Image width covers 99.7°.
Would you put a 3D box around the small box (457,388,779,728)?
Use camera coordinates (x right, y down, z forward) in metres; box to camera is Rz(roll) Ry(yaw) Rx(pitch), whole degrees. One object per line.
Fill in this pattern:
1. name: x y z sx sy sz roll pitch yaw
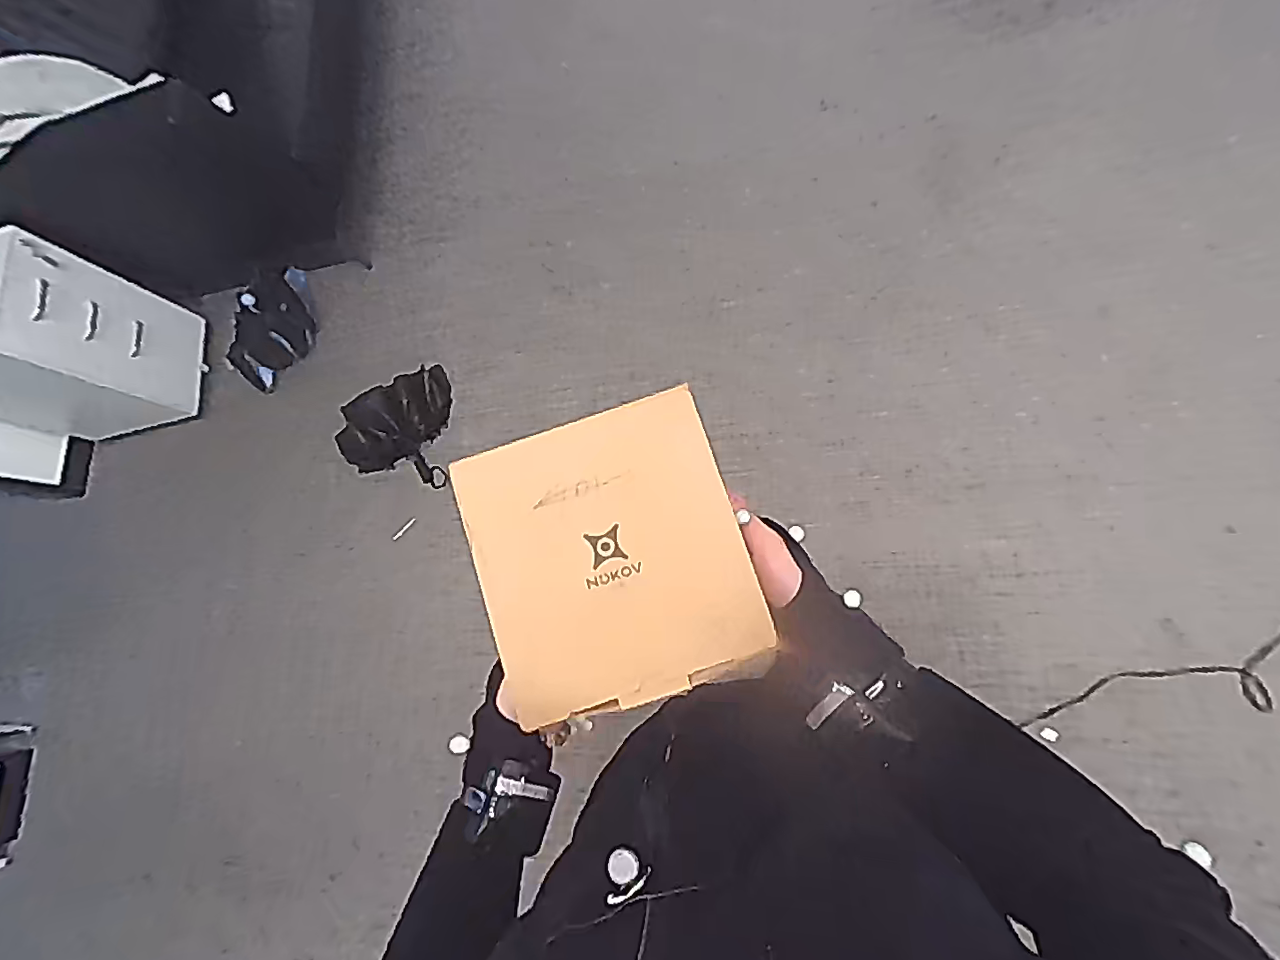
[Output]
1. small box: -0.012 0.057 0.415 0.168 0.176 0.179 -19 80 0
